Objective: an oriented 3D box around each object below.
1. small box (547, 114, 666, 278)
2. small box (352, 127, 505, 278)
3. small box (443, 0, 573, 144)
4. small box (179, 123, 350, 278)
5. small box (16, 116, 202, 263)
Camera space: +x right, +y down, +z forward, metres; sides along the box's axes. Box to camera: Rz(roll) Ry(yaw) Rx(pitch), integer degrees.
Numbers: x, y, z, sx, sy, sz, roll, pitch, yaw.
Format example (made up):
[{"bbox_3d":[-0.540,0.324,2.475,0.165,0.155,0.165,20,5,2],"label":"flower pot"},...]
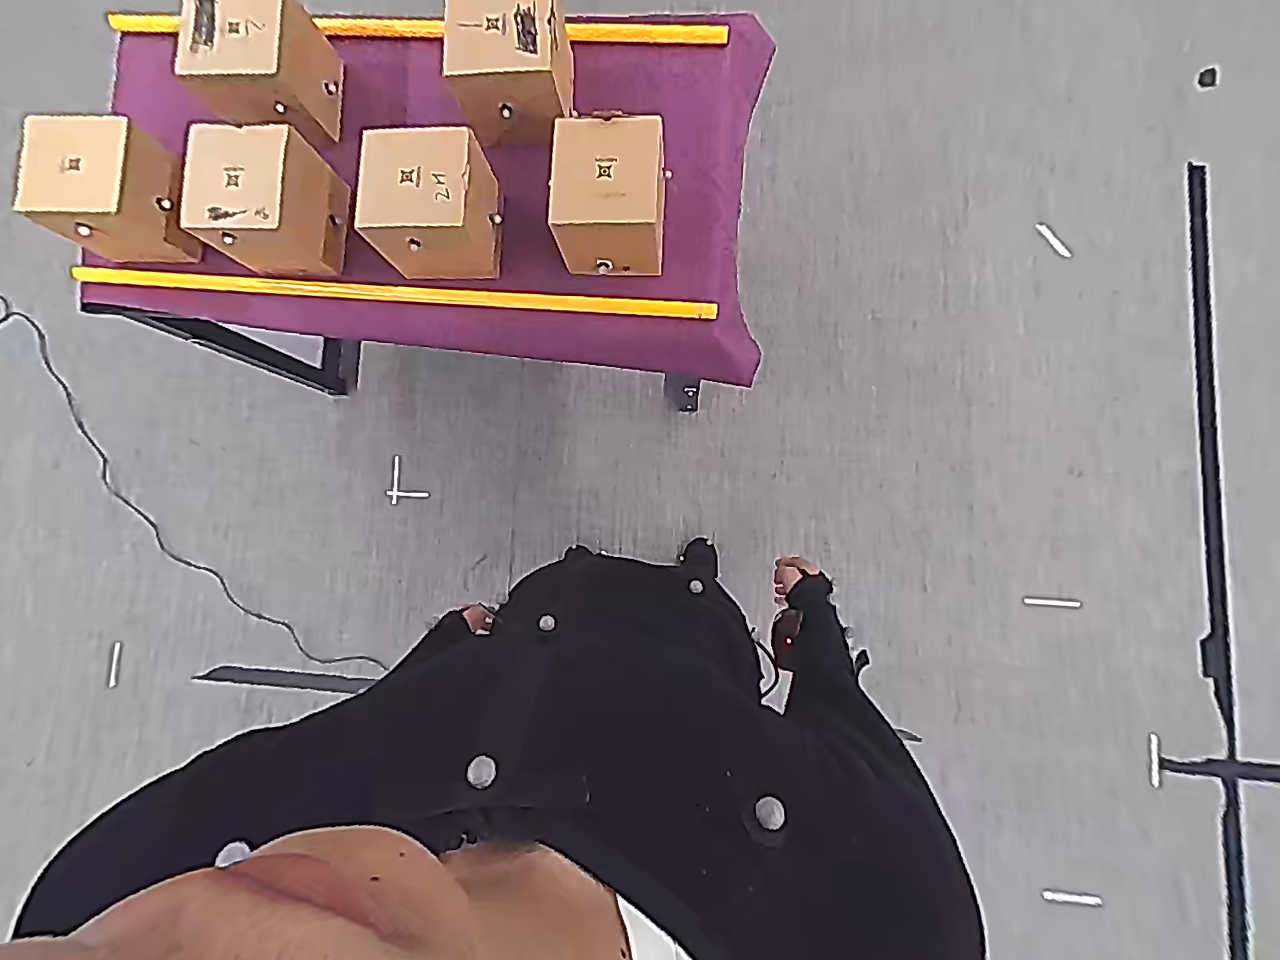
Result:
[{"bbox_3d":[-0.045,-0.455,0.884,0.168,0.176,0.179,2,83,6],"label":"small box"},{"bbox_3d":[-0.343,-0.453,0.905,0.179,0.176,0.168,2,84,5],"label":"small box"},{"bbox_3d":[-0.214,-0.703,0.918,0.179,0.176,0.168,0,86,5],"label":"small box"},{"bbox_3d":[-0.629,-0.471,0.927,0.168,0.176,0.179,3,85,6],"label":"small box"},{"bbox_3d":[-0.907,-0.498,0.948,0.179,0.176,0.168,3,85,4],"label":"small box"}]
